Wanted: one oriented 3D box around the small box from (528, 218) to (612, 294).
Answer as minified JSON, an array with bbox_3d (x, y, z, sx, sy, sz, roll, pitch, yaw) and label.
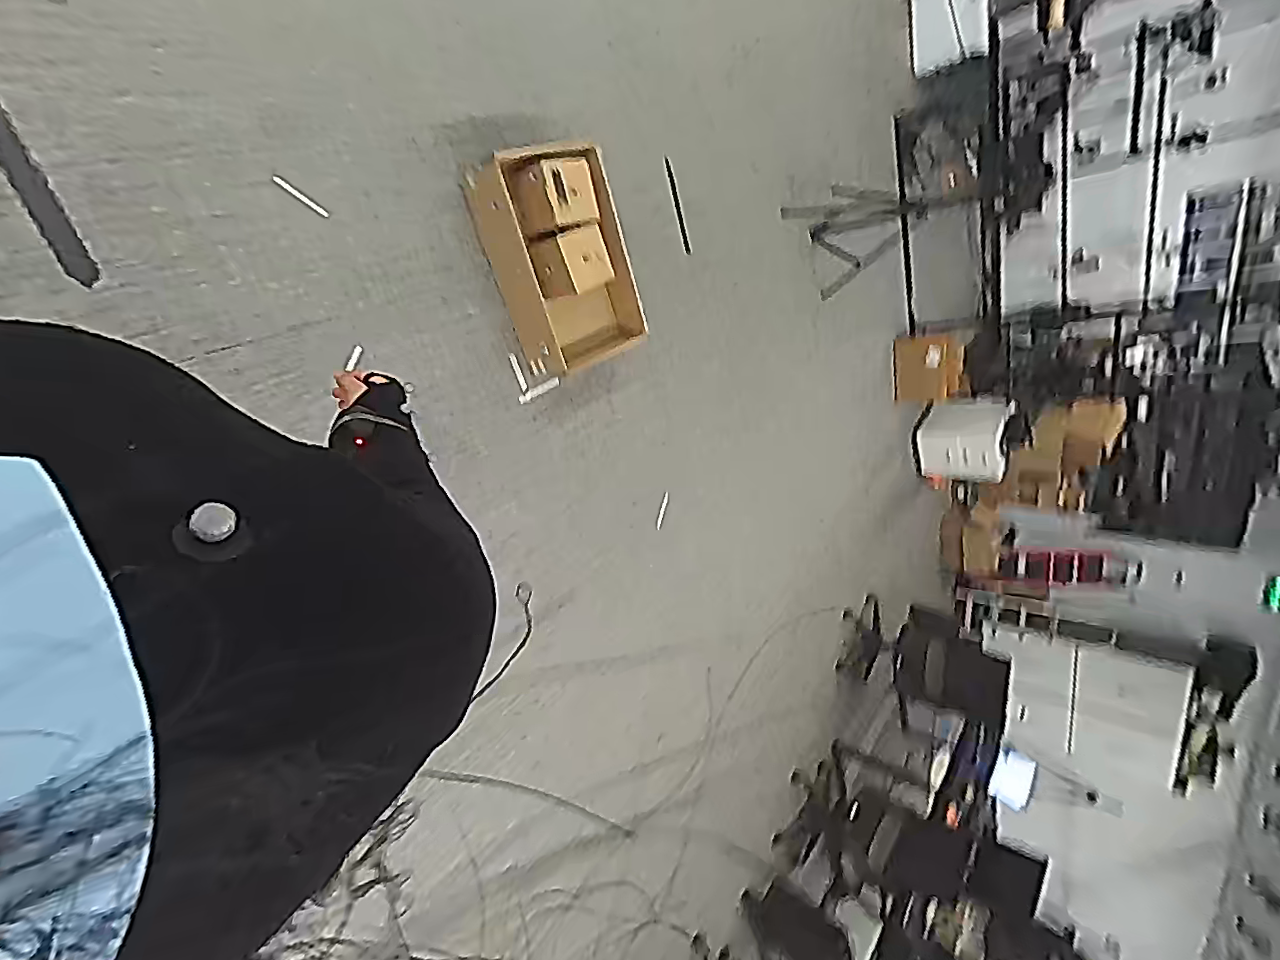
[{"bbox_3d":[-0.226,-0.695,1.693,0.179,0.176,0.168,-40,123,-35],"label":"small box"}]
